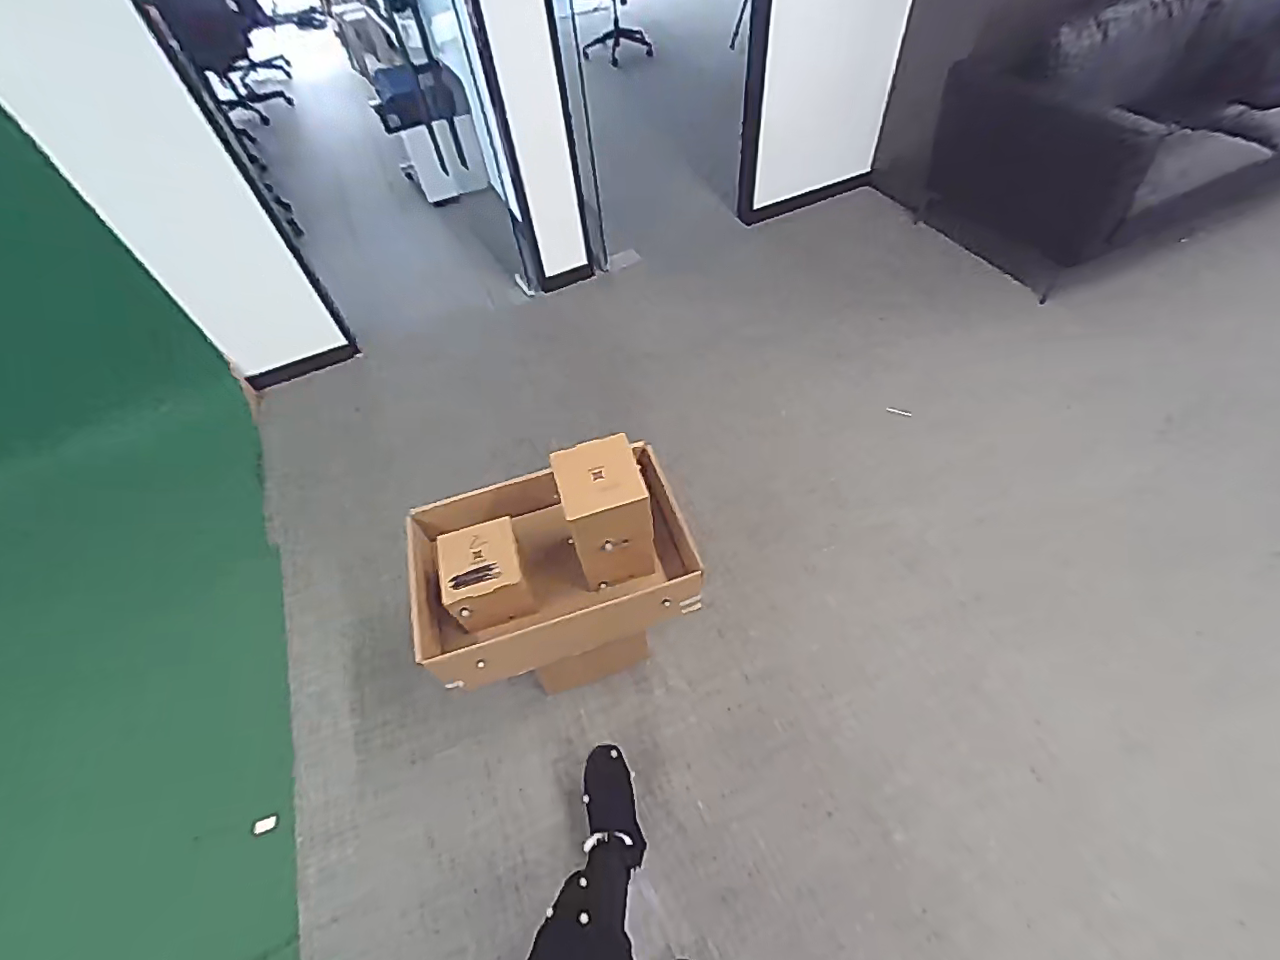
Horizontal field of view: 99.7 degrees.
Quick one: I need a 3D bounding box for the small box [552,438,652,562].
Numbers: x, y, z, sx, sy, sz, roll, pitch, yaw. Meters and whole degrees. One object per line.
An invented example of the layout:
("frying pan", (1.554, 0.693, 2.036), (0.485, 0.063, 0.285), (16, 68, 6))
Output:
("small box", (-0.078, 0.045, 1.138), (0.168, 0.176, 0.179), (-16, 54, -6))
